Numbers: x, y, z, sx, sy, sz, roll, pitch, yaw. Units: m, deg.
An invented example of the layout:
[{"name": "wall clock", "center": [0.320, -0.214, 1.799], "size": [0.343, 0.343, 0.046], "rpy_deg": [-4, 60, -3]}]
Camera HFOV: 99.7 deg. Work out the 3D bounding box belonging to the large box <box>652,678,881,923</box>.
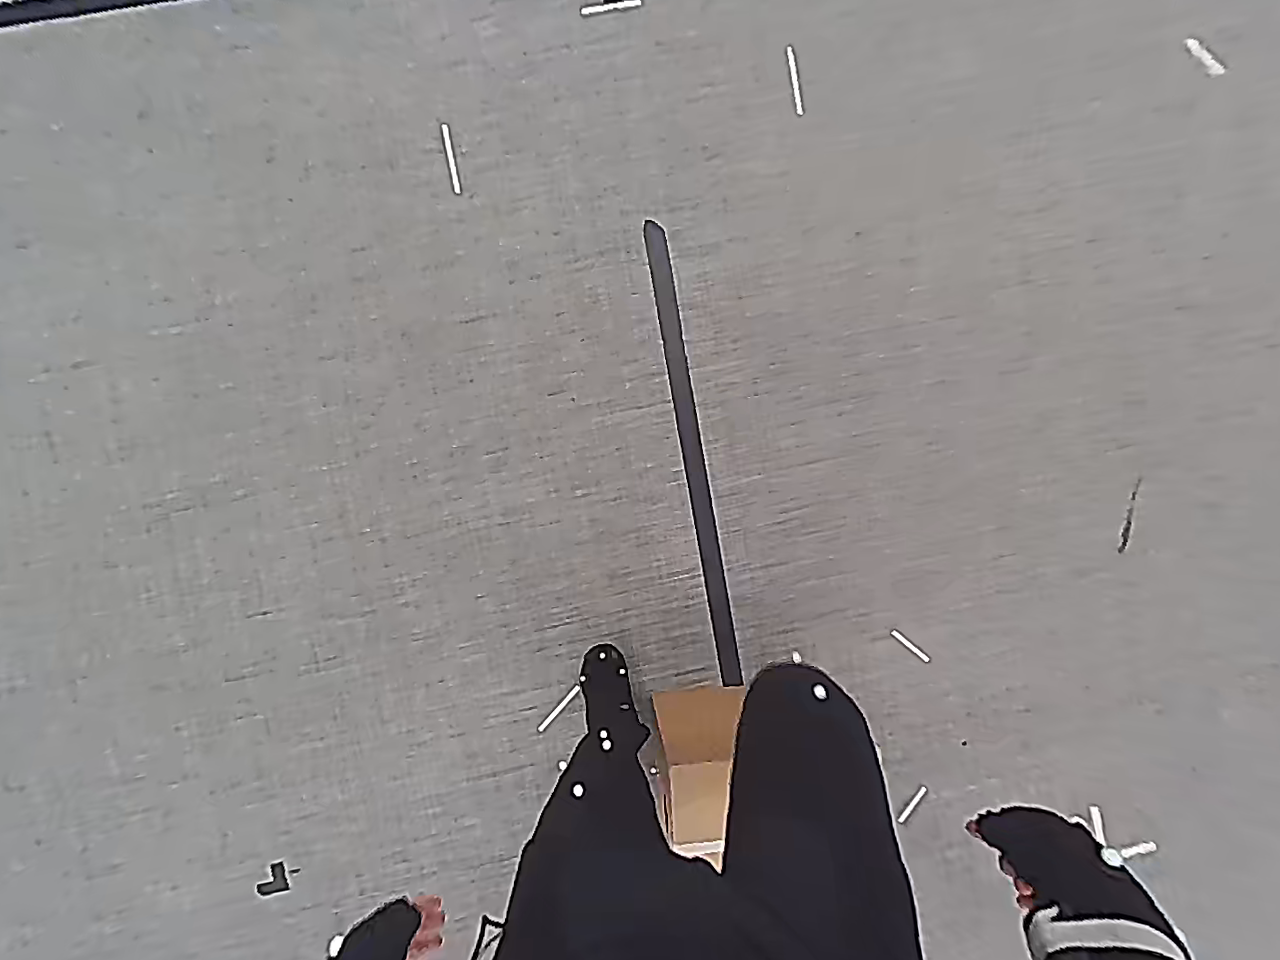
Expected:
[{"name": "large box", "center": [0.247, 0.653, 1.162], "size": [0.408, 0.320, 0.320], "rpy_deg": [-4, 92, -5]}]
